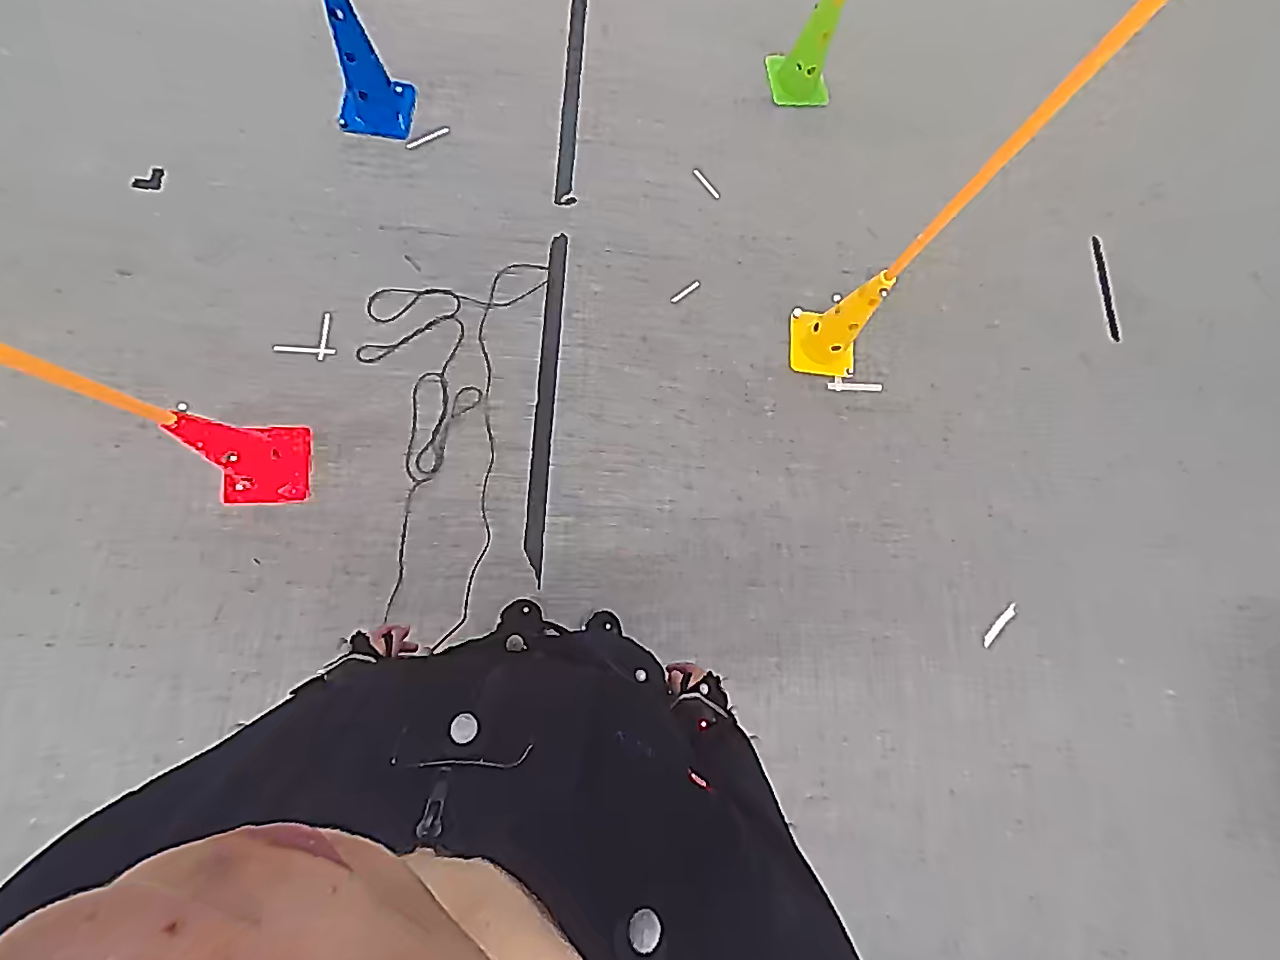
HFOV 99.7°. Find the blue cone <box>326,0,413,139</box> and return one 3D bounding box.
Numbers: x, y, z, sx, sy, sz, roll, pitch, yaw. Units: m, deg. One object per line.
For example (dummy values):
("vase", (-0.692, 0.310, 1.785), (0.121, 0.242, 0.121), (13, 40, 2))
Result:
("blue cone", (-0.763, -1.147, 1.458), (0.193, 0.380, 0.192), (6, 77, -6))

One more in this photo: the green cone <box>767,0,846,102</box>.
("green cone", (0.559, -1.410, 1.674), (0.200, 0.368, 0.202), (-7, 80, -9))

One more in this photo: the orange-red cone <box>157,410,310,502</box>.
("orange-red cone", (-0.910, -0.080, 1.185), (0.199, 0.360, 0.198), (-1, 78, -9))
